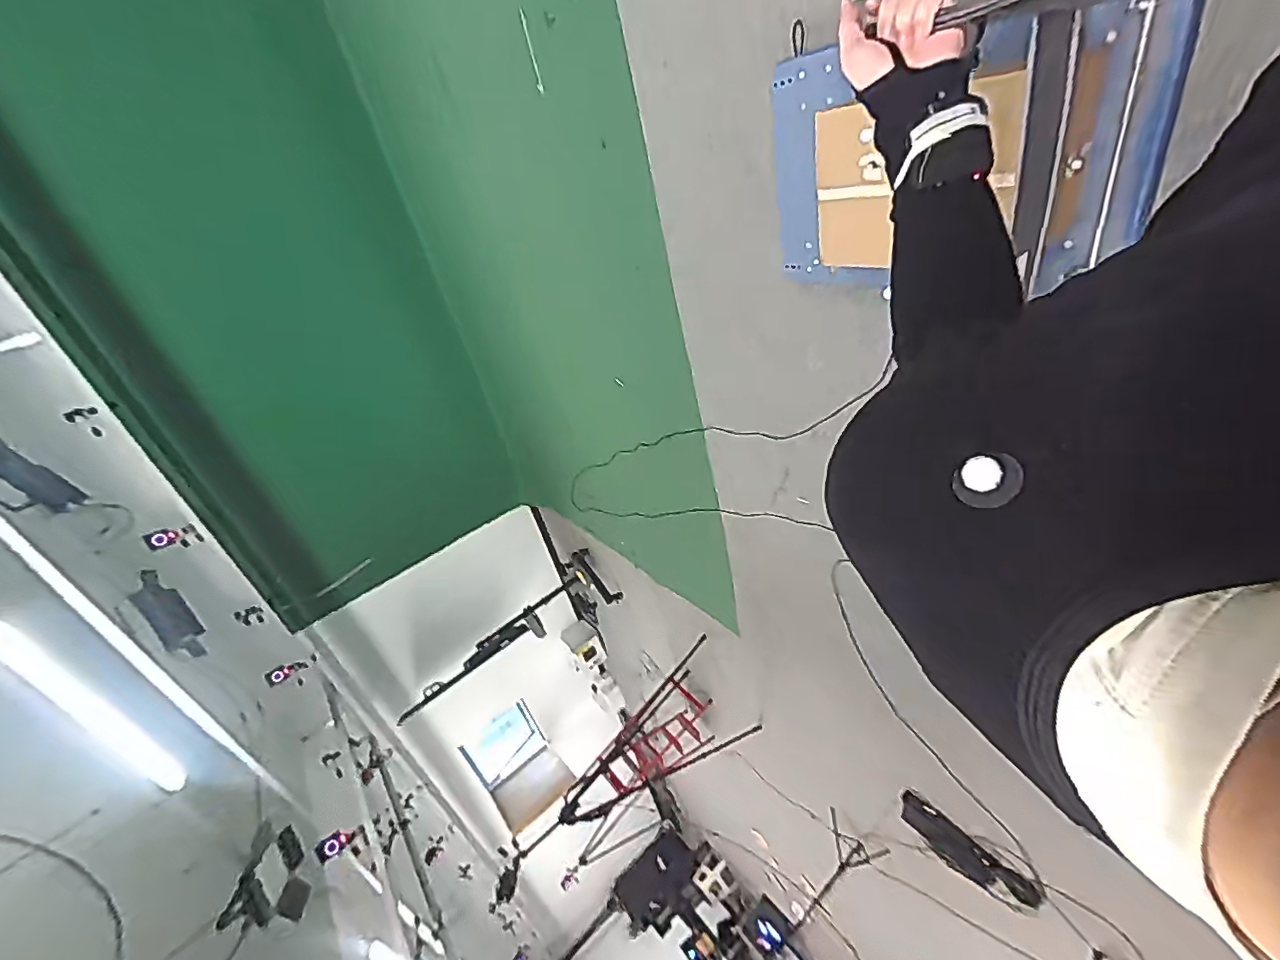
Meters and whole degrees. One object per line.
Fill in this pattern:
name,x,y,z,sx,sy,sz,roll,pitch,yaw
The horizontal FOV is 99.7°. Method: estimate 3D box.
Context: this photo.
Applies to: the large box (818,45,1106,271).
large box,0.637,-0.641,1.121,0.408,0.320,0.320,28,140,47
